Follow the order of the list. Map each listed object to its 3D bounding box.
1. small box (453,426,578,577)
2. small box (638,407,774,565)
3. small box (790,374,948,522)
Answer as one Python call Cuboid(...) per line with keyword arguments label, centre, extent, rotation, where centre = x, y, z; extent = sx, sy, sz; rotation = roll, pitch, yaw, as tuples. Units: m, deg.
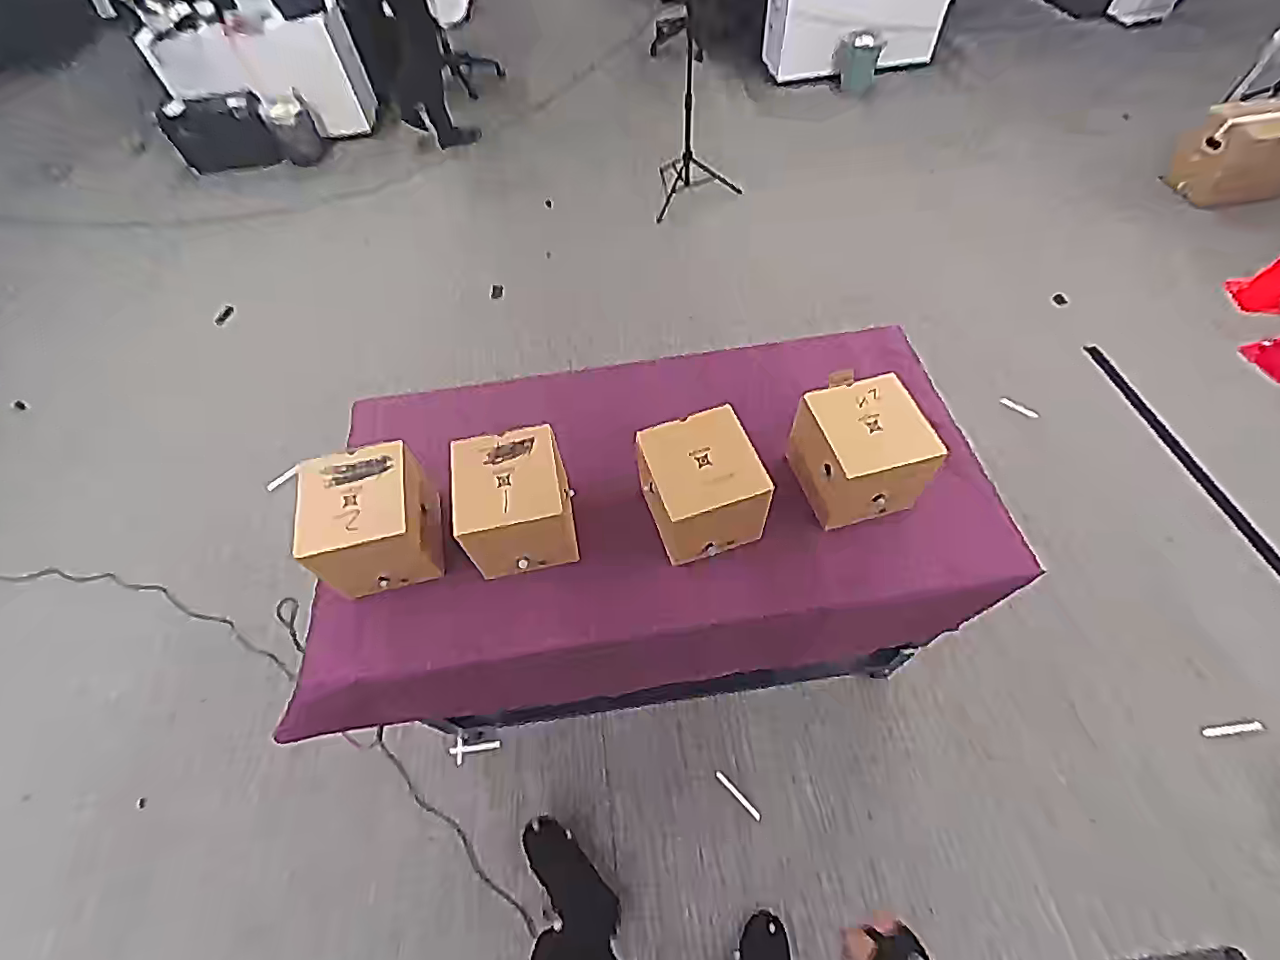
Cuboid(label="small box", centre=(-0.204, 0.039, 0.903), extent=(0.168, 0.176, 0.179), rotation=(-12, 57, -3))
Cuboid(label="small box", centre=(0.101, 0.013, 0.899), extent=(0.168, 0.176, 0.179), rotation=(-17, 57, -6))
Cuboid(label="small box", centre=(0.371, -0.046, 0.914), extent=(0.168, 0.176, 0.179), rotation=(-14, 56, -5))
